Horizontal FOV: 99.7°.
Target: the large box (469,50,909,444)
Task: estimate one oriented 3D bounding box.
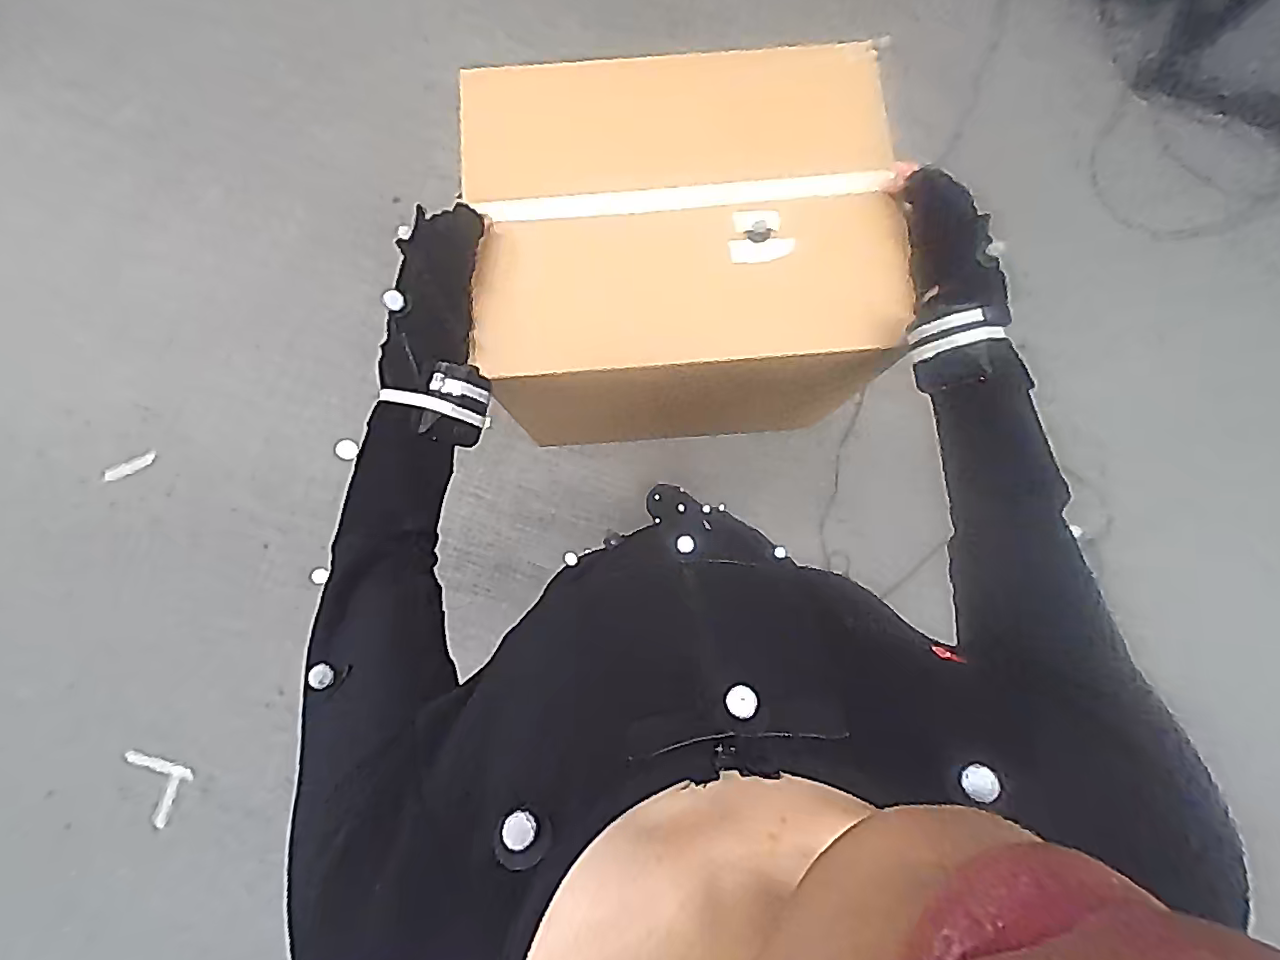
[{"bbox_3d":[0.039,-0.243,0.668,0.408,0.320,0.320,-5,82,-1],"label":"large box"}]
